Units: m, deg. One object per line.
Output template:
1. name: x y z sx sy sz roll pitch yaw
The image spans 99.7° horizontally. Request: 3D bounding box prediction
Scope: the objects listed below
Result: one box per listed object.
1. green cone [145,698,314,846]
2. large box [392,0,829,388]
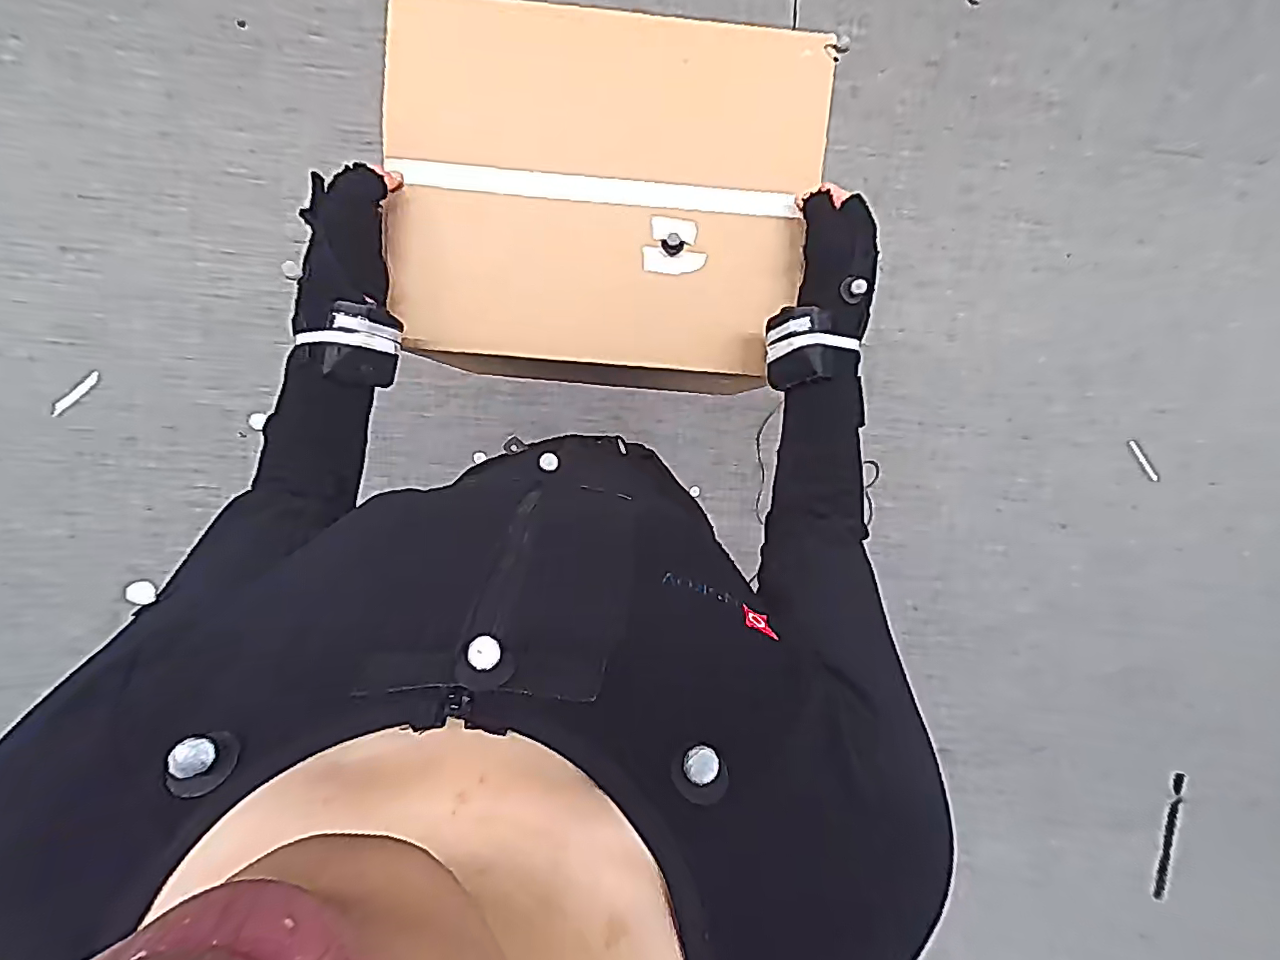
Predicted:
1. green cone: -1.020 0.733 1.312 0.202 0.368 0.200 -33 94 2
2. large box: -0.038 -0.289 0.655 0.408 0.320 0.320 4 96 -3
